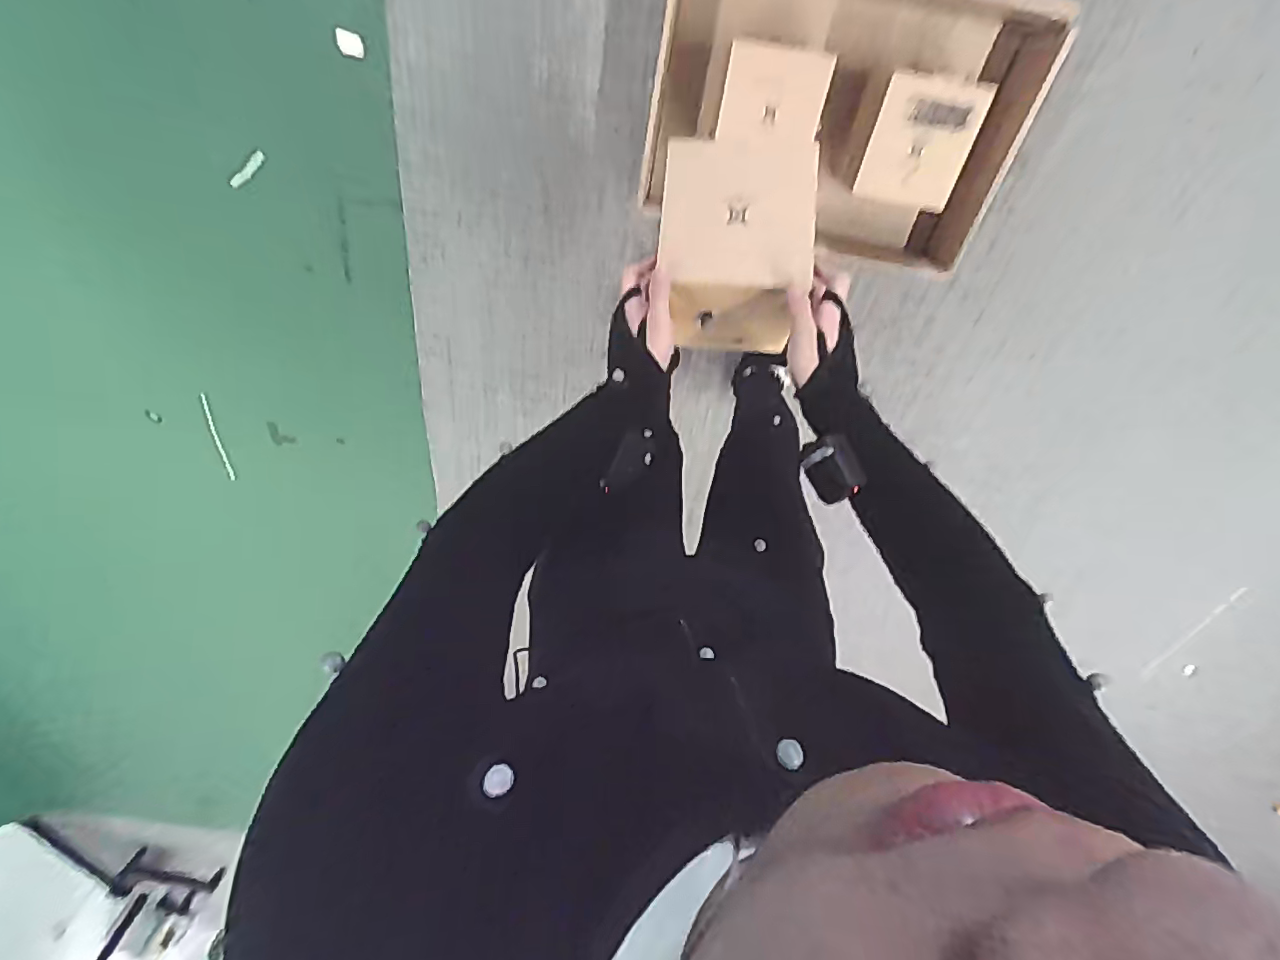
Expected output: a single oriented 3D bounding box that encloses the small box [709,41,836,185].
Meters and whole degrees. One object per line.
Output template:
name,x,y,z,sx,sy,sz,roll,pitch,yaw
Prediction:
small box,0.218,-0.638,0.945,0.168,0.176,0.179,9,126,-3
